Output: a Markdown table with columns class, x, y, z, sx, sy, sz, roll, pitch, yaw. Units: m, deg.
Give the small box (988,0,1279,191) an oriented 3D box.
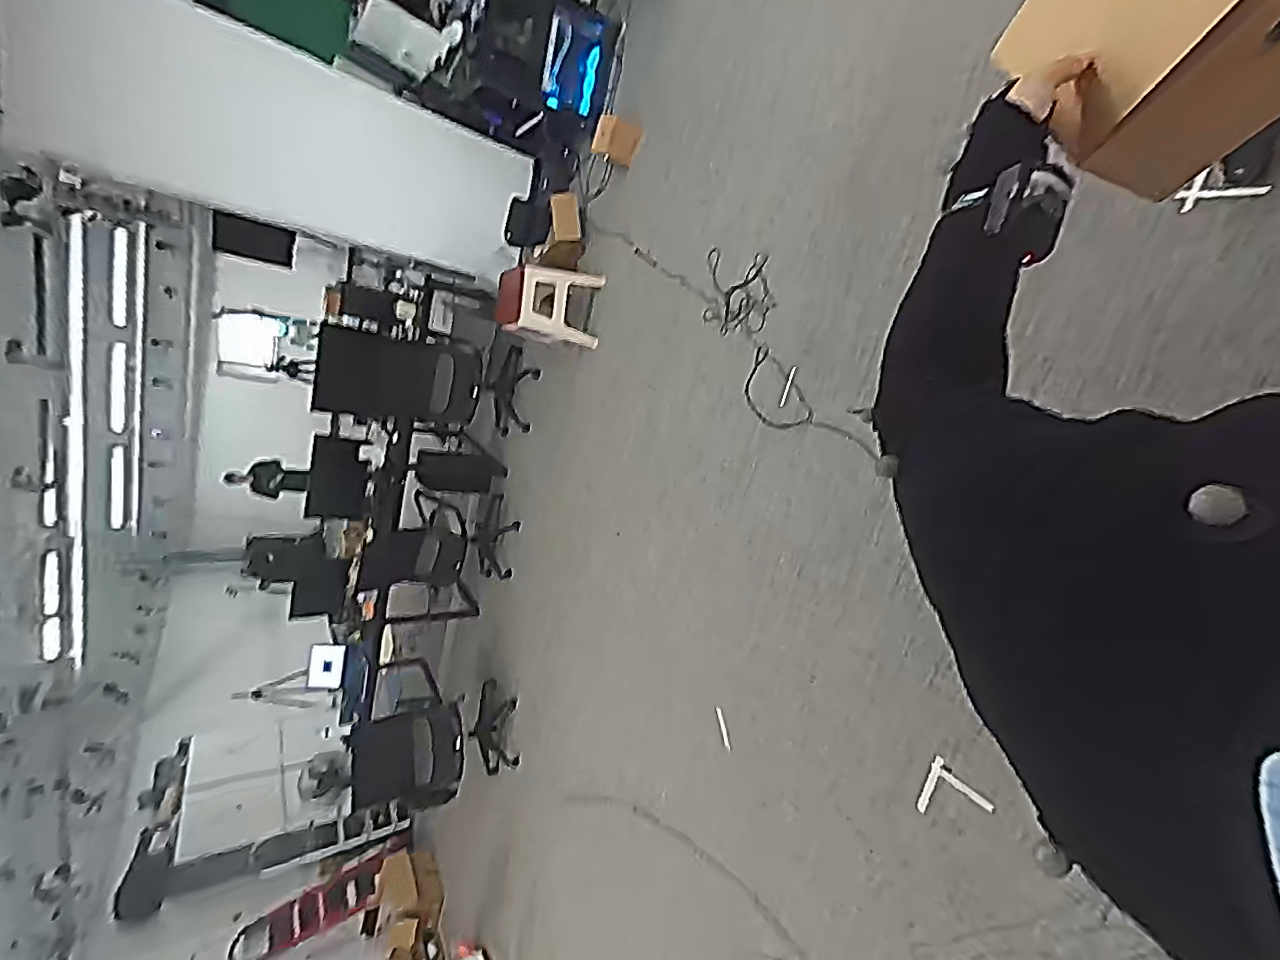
| class | x | y | z | sx | sy | sz | roll | pitch | yaw |
| --- | --- | --- | --- | --- | --- | --- | --- | --- | --- |
| small box | 0.466 | -0.393 | 0.472 | 0.179 | 0.176 | 0.168 | -48 | 50 | 54 |
